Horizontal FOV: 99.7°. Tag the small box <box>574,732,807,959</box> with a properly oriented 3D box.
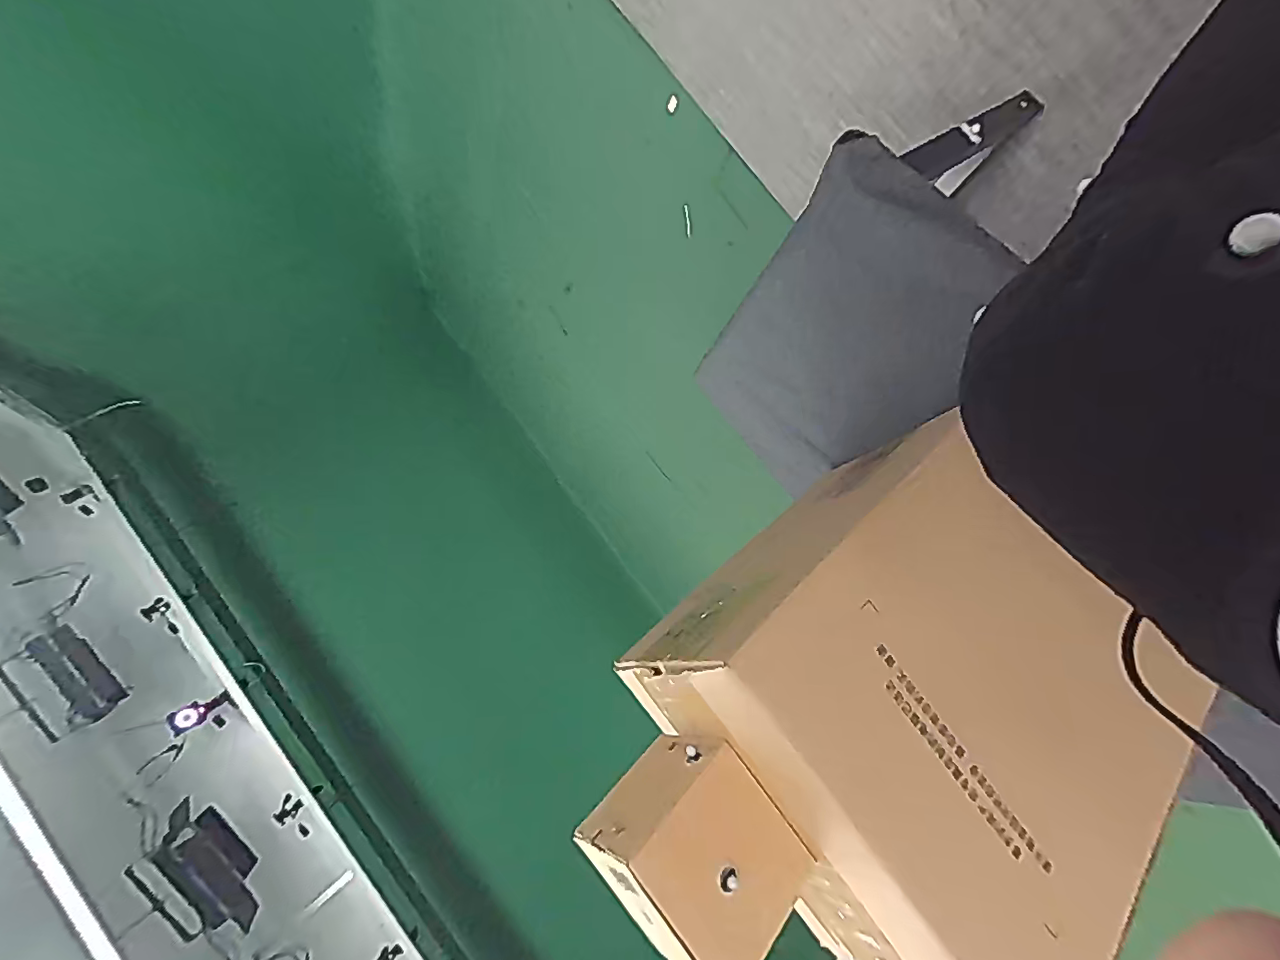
[{"bbox_3d":[0.058,0.427,0.643,0.179,0.176,0.168,53,147,2],"label":"small box"}]
